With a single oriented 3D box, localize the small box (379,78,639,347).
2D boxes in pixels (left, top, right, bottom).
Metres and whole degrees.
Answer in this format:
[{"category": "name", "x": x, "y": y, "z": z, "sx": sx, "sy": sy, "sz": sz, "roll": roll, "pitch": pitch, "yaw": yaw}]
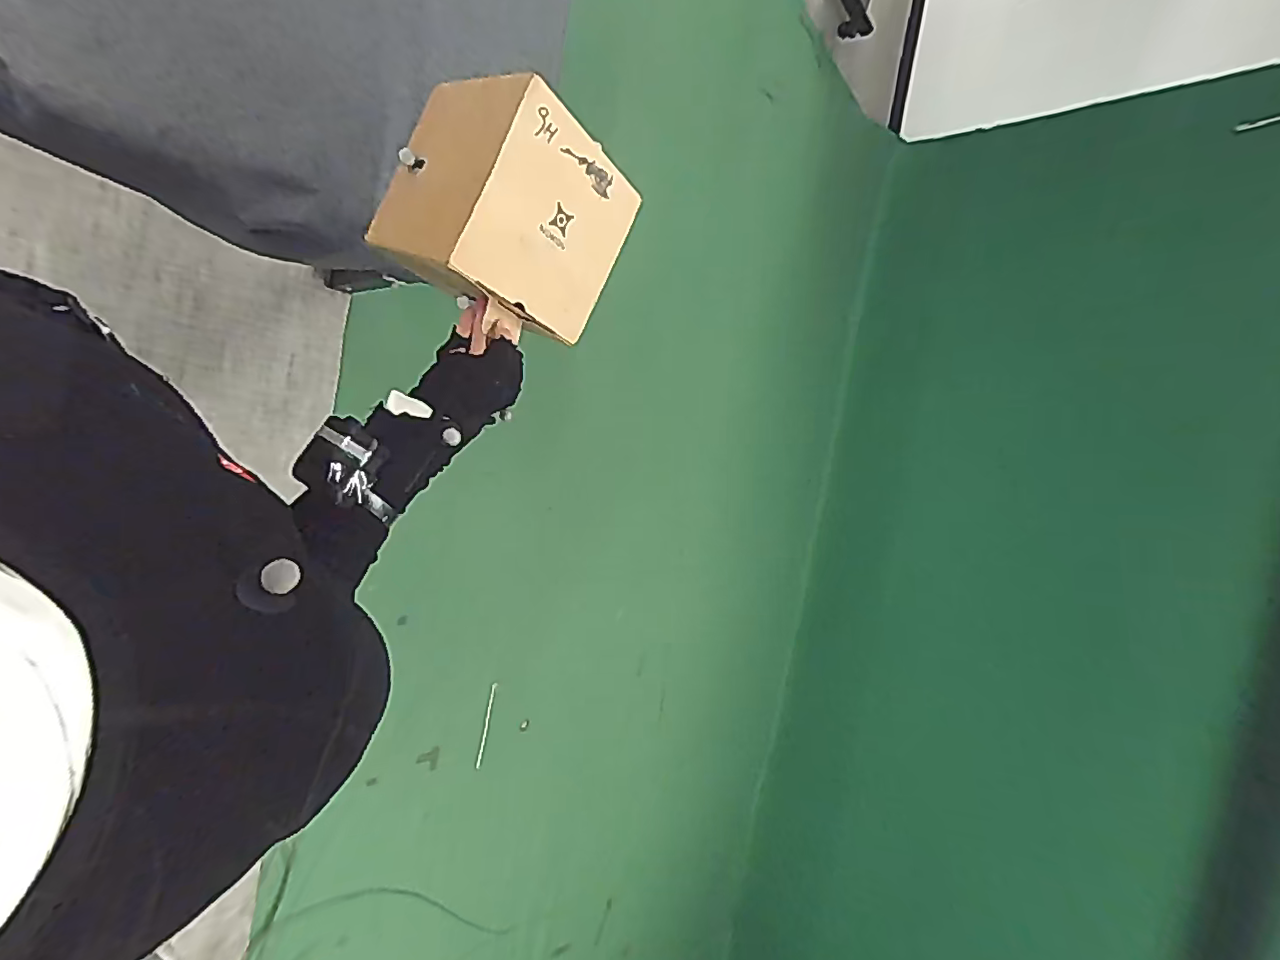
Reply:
[{"category": "small box", "x": -0.139, "y": -0.268, "z": 0.560, "sx": 0.168, "sy": 0.176, "sz": 0.179, "roll": 23, "pitch": 95, "yaw": -55}]
